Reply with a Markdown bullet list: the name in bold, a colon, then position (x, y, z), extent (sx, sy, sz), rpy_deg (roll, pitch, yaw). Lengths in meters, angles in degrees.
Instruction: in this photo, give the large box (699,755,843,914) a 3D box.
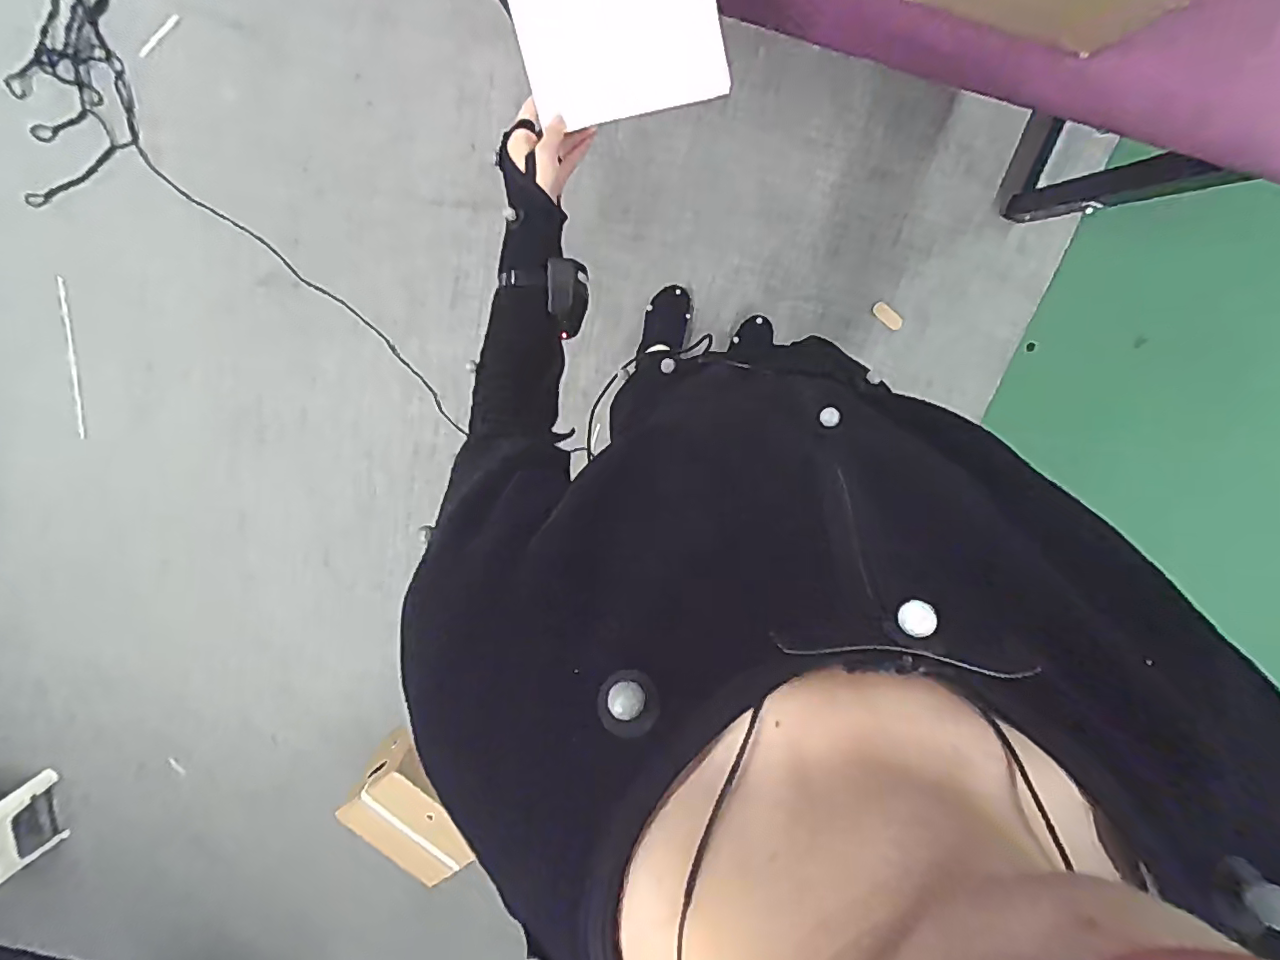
- **large box**: position (0.402, 1.148, 1.774), extent (0.408, 0.320, 0.320), rpy_deg (1, 110, 3)
